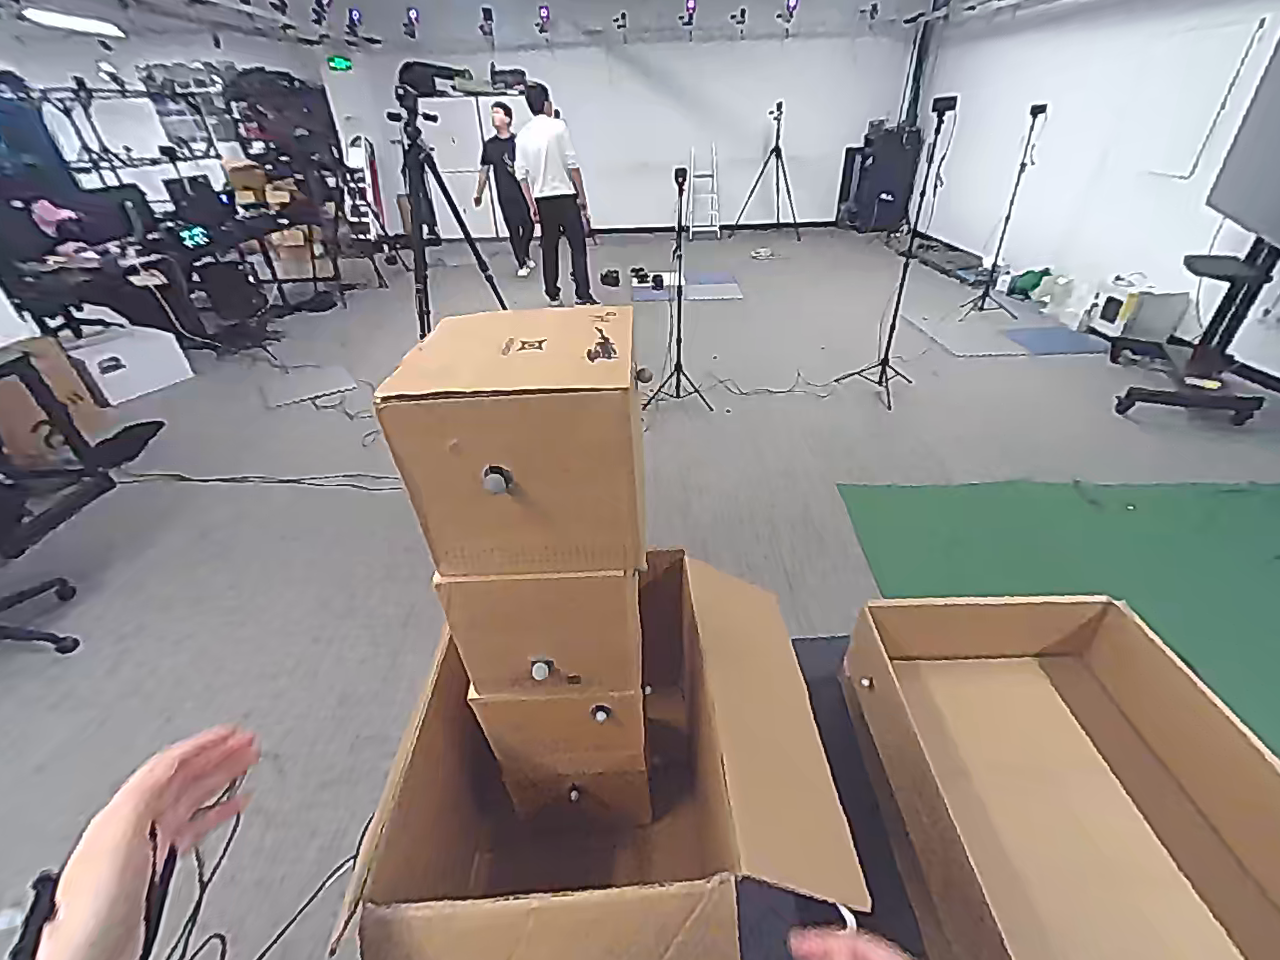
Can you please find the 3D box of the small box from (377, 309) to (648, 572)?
[{"bbox_3d":[-0.086,-0.034,0.470,0.179,0.176,0.168,-3,37,2],"label":"small box"}]

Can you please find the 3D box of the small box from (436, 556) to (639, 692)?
[{"bbox_3d":[-0.088,0.098,0.568,0.168,0.176,0.179,-3,37,2],"label":"small box"}]
